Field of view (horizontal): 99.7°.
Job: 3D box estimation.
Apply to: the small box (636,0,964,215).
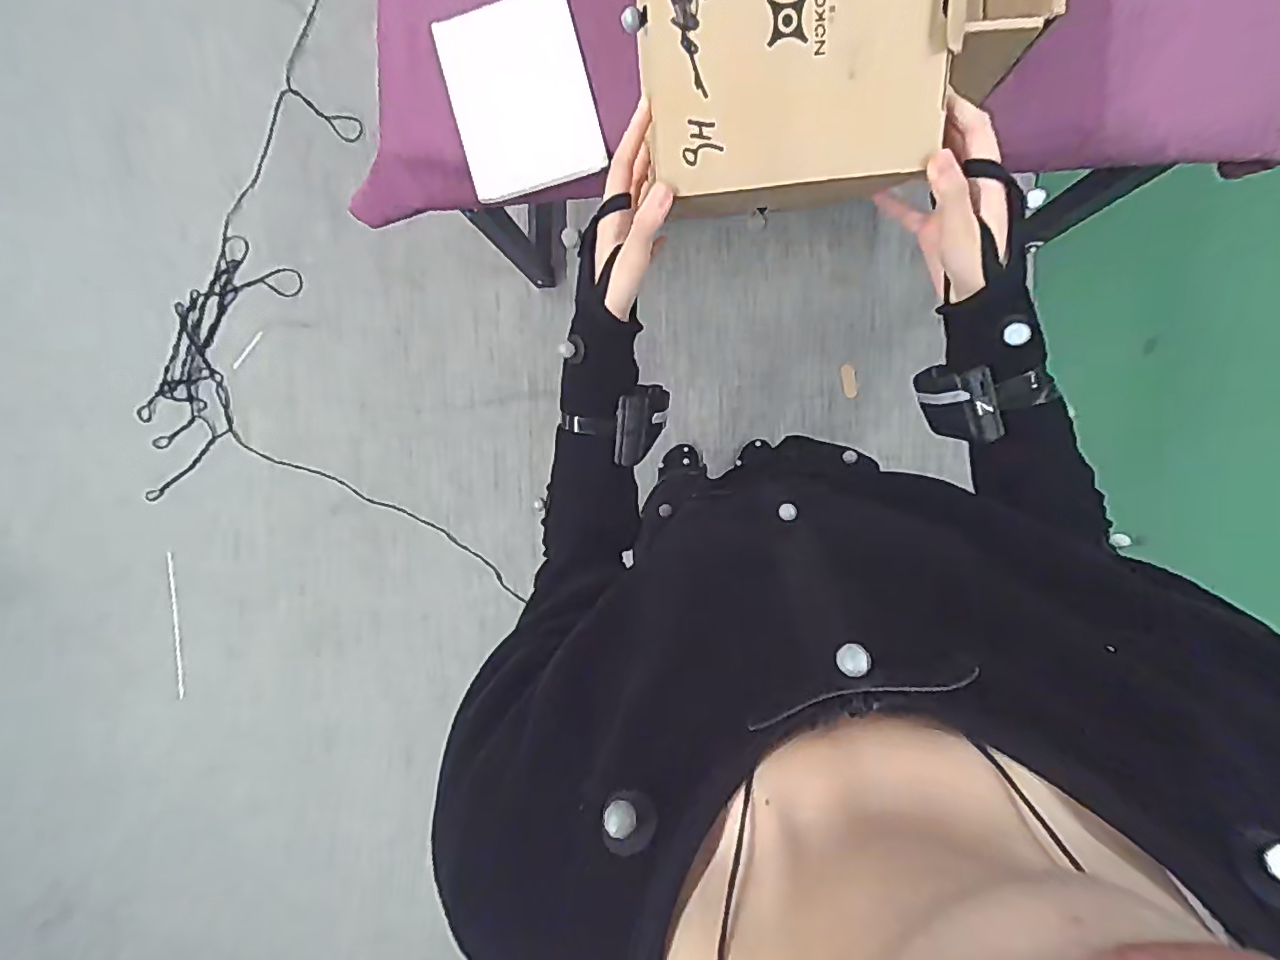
[{"bbox_3d":[0.092,-0.289,0.375,0.179,0.176,0.168,-5,109,0],"label":"small box"}]
